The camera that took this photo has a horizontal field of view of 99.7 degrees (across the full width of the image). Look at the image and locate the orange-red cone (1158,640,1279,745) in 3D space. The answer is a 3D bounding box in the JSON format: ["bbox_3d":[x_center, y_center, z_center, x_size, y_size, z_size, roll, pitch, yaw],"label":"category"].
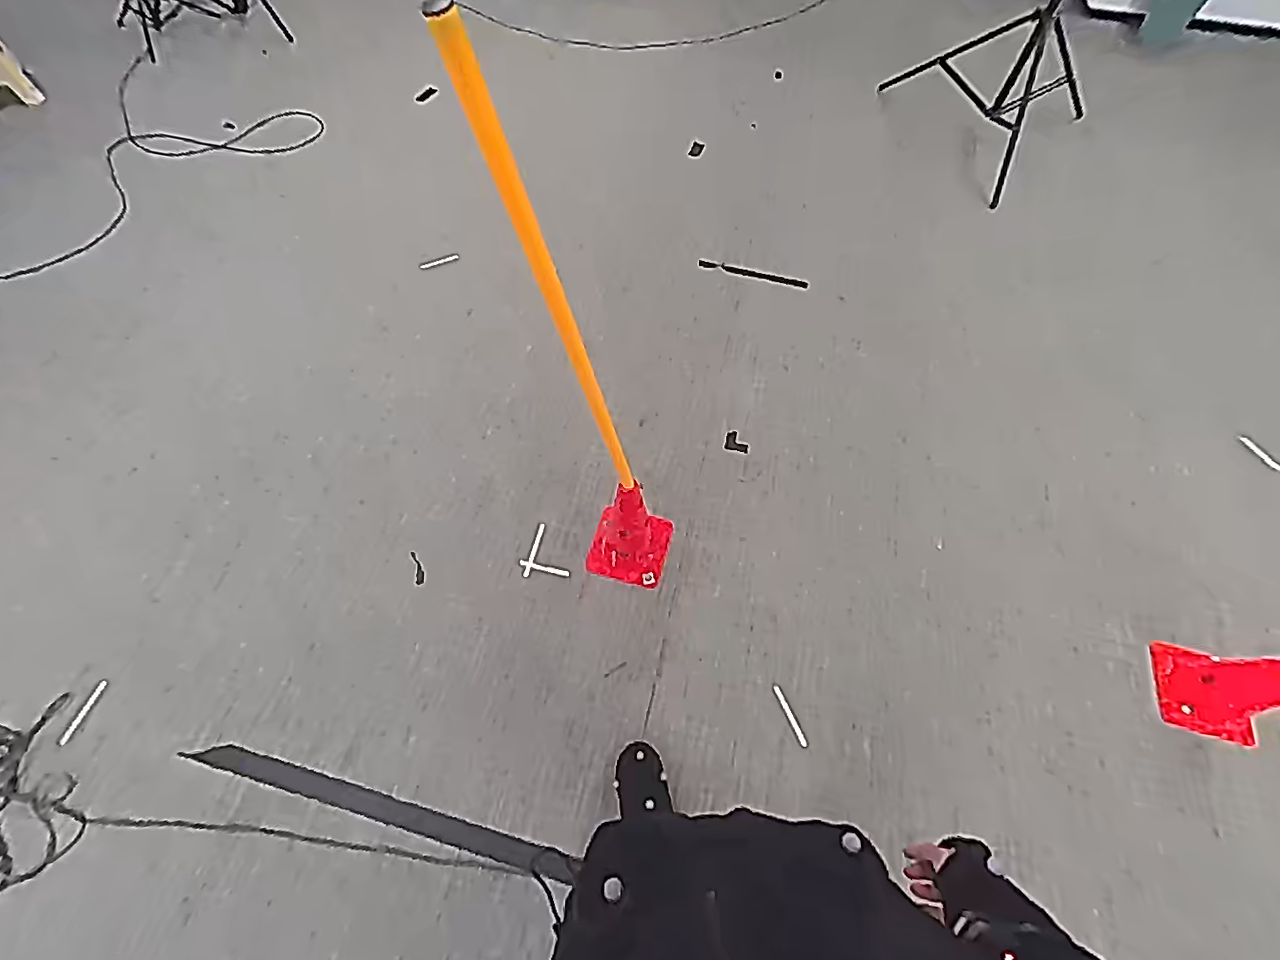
[{"bbox_3d":[1.335,0.416,1.122,0.199,0.360,0.198,17,63,7],"label":"orange-red cone"}]
